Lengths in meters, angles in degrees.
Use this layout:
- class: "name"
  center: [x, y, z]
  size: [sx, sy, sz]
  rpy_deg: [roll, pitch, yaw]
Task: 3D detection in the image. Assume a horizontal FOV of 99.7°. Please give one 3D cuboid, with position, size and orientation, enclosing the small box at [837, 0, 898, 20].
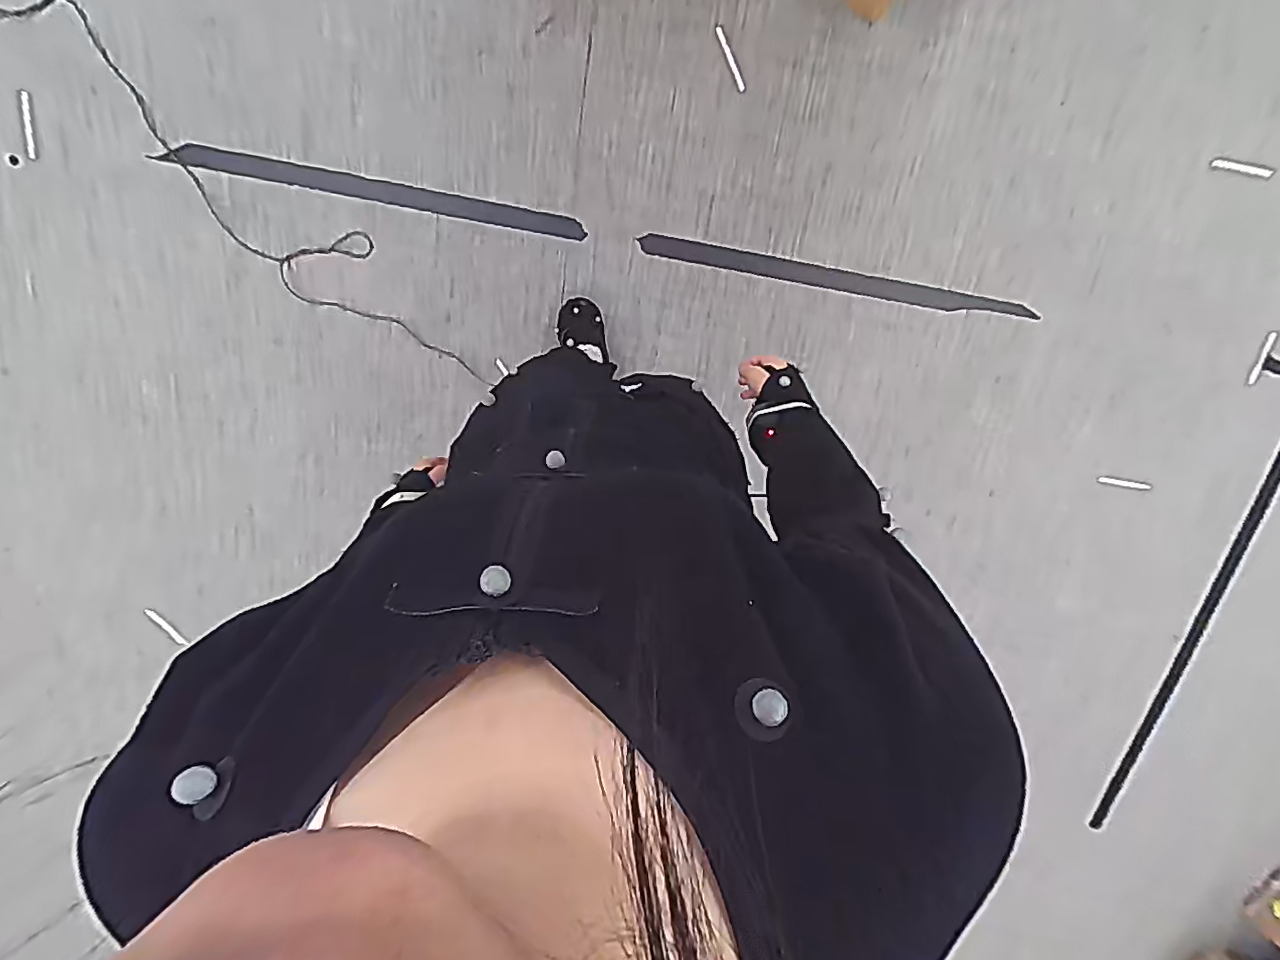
- class: "small box"
  center: [0.496, -1.101, 1.108]
  size: [0.179, 0.176, 0.168]
  rpy_deg: [25, 105, -6]
